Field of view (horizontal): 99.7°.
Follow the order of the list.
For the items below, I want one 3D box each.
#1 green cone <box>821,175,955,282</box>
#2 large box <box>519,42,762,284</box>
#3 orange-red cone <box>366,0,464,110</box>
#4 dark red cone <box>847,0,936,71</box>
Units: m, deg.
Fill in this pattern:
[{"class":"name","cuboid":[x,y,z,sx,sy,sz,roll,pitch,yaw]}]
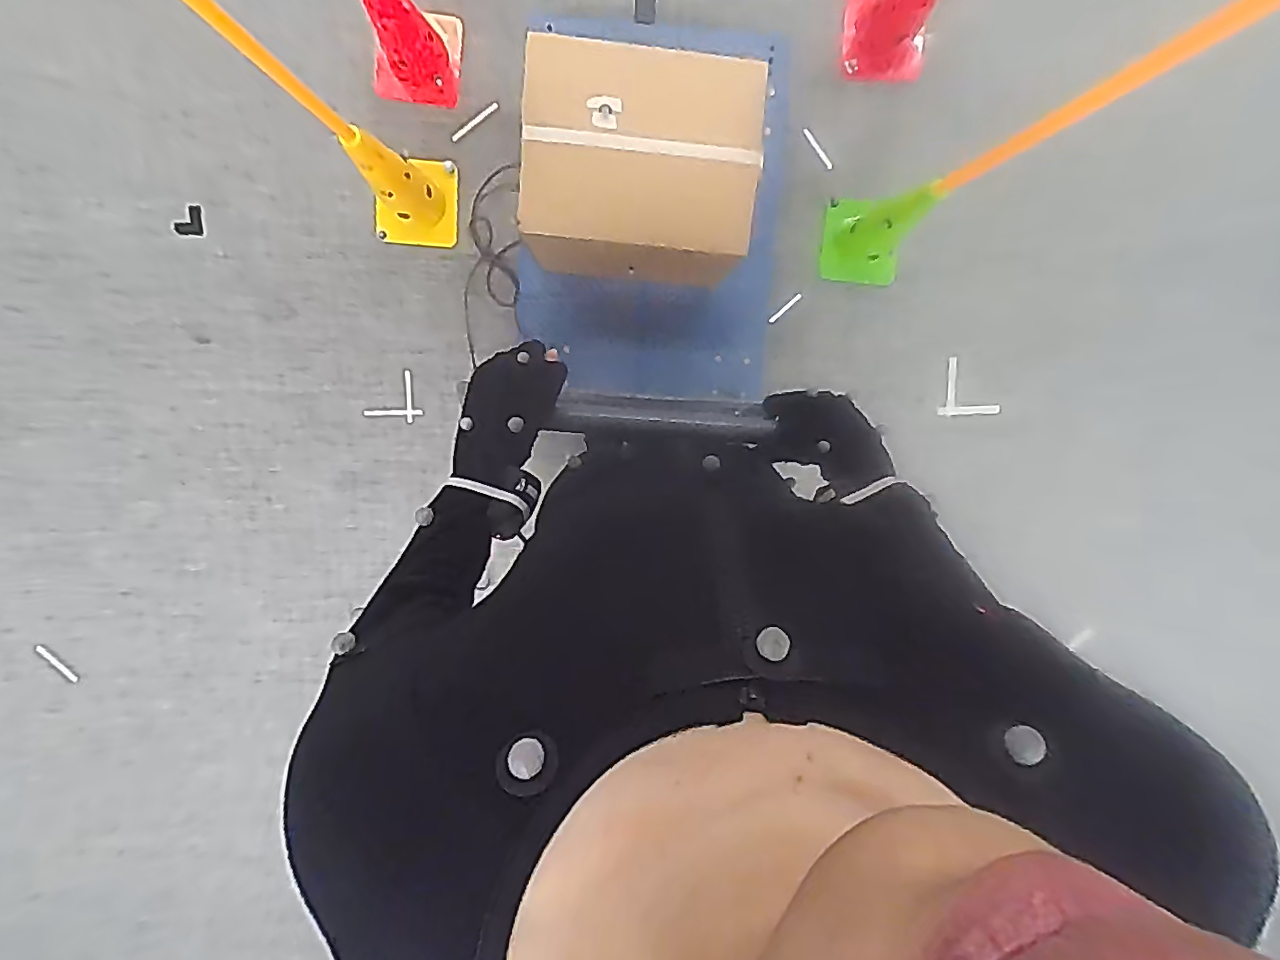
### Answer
[{"class":"green cone","cuboid":[0.581,-0.596,1.229,0.202,0.368,0.200,4,98,-4]},{"class":"large box","cuboid":[-0.004,-0.584,1.068,0.408,0.320,0.320,5,99,-2]},{"class":"orange-red cone","cuboid":[-0.525,-0.993,1.138,0.198,0.360,0.199,7,97,-4]},{"class":"dark red cone","cuboid":[0.607,-1.072,1.139,0.201,0.394,0.202,0,99,-4]}]
